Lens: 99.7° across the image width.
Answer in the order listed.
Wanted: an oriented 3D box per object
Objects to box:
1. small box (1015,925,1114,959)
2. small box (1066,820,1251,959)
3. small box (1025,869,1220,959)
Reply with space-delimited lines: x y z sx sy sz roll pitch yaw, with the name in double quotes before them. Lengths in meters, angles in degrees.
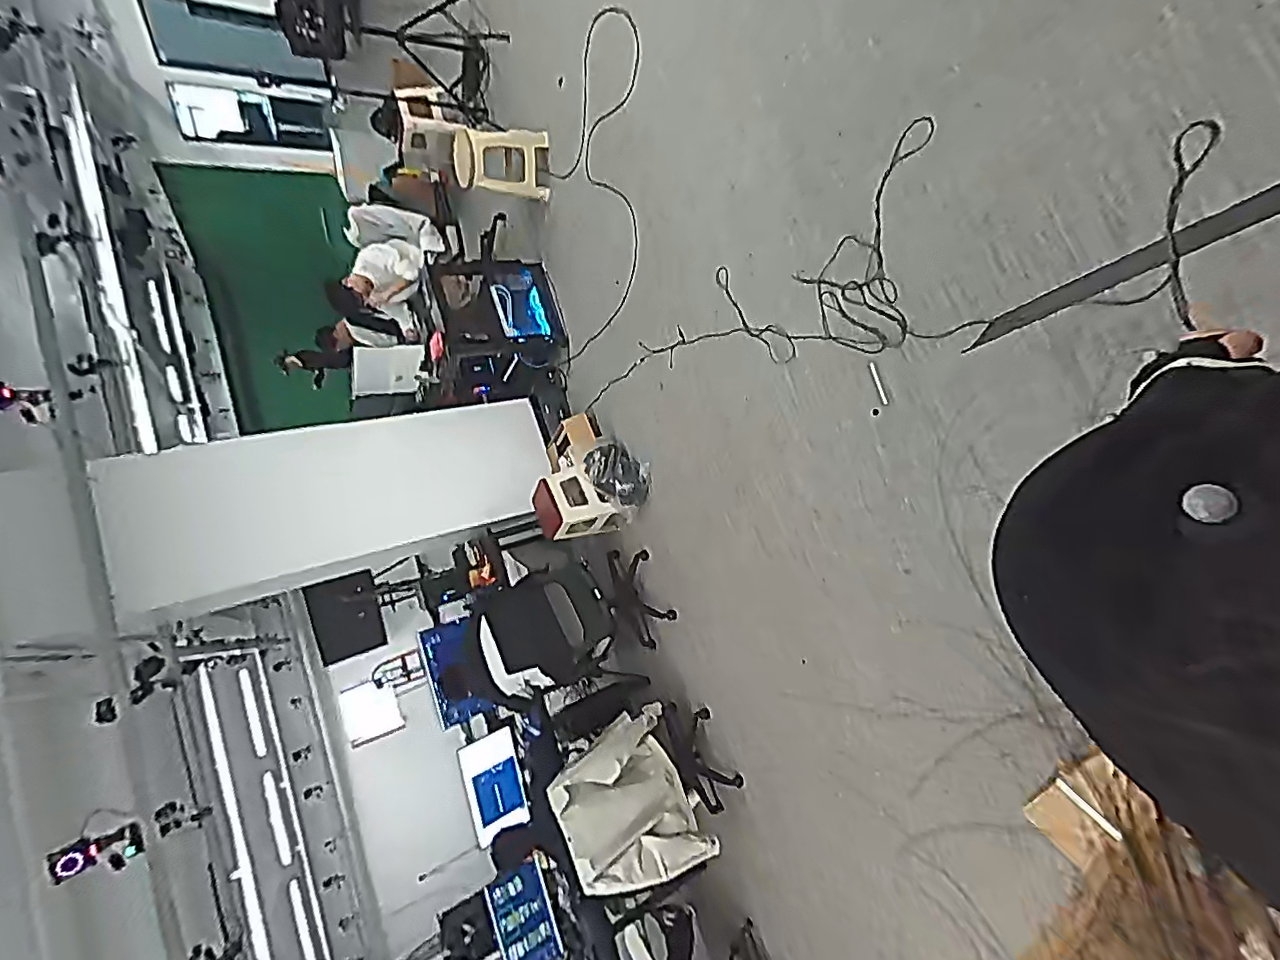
"small box" 0.683 0.850 0.844 0.168 0.176 0.179 47 140 40
"small box" 0.960 0.782 1.004 0.168 0.176 0.179 47 139 40
"small box" 0.822 0.820 0.925 0.168 0.176 0.179 47 140 40
